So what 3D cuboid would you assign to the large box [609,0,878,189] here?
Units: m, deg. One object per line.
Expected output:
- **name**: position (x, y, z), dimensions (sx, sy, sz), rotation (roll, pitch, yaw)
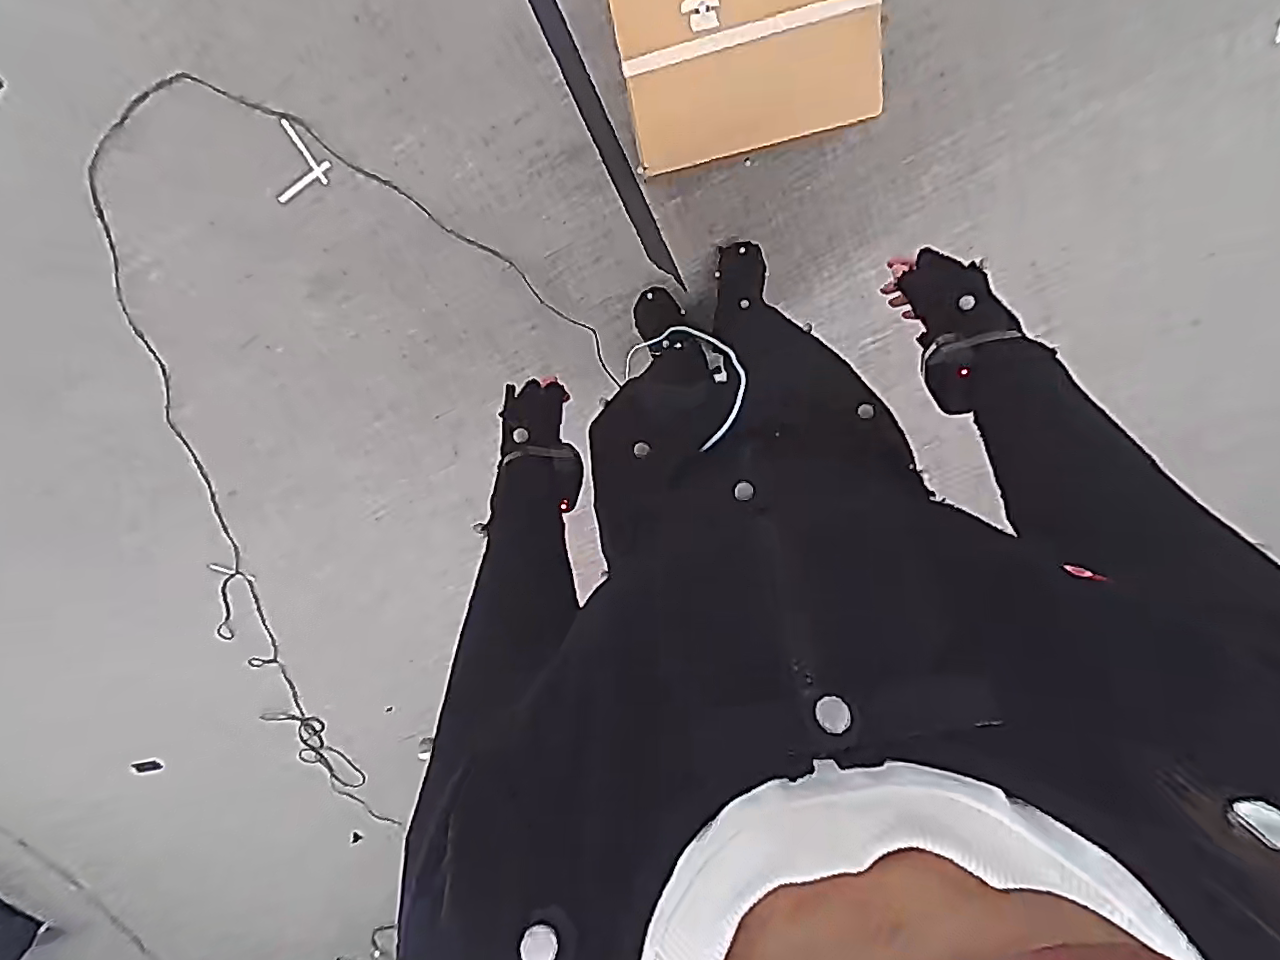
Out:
- **large box**: position (0.180, -0.767, 1.007), dimensions (0.408, 0.320, 0.320), rotation (-11, 114, 8)
